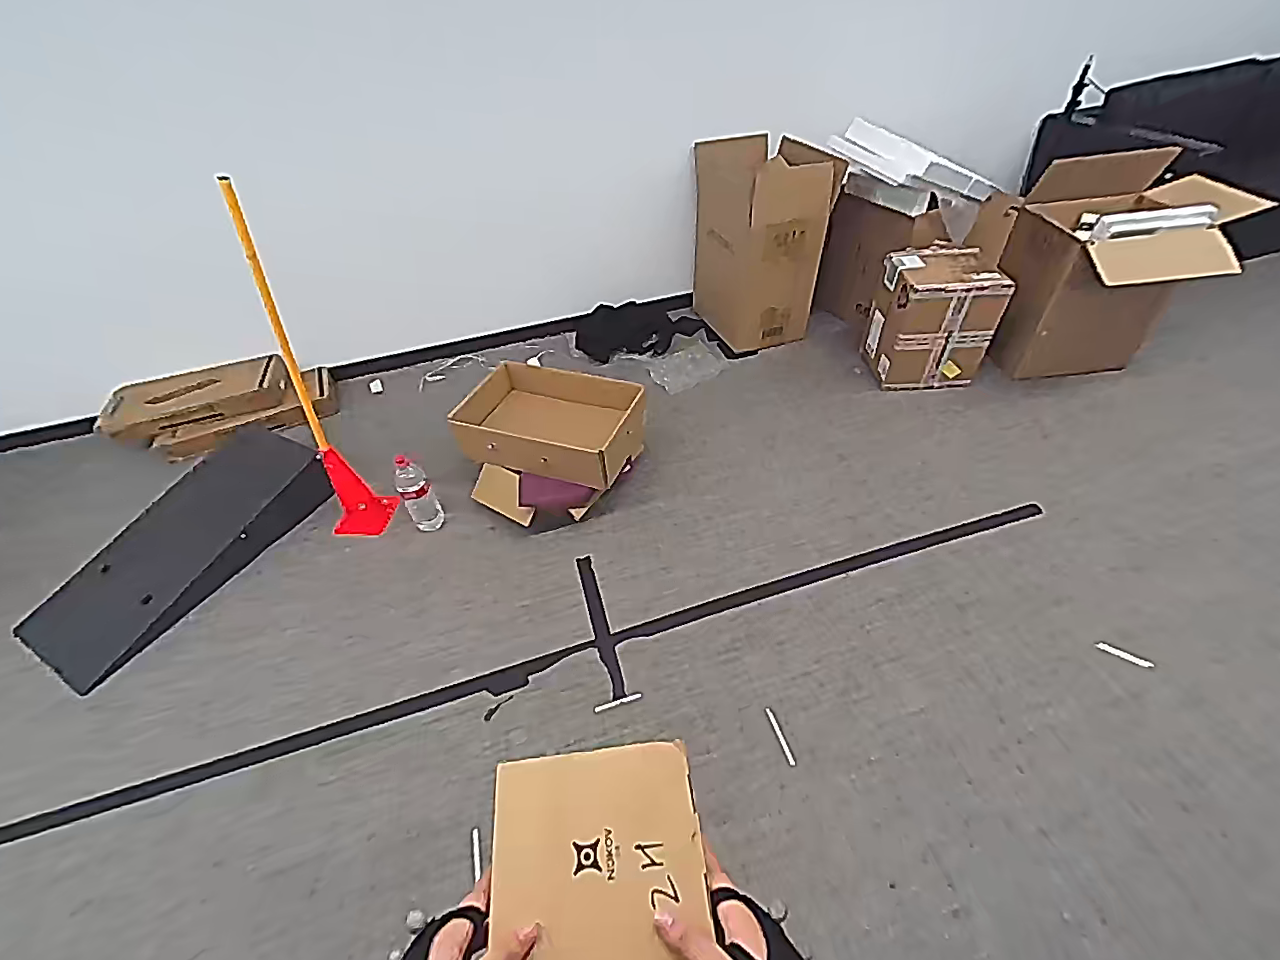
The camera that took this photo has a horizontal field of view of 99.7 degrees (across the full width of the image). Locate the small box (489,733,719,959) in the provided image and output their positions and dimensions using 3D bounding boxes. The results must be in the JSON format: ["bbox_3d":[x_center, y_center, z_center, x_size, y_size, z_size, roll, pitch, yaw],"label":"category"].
[{"bbox_3d":[-0.032,0.360,0.510,0.179,0.176,0.168,-5,49,-4],"label":"small box"}]
